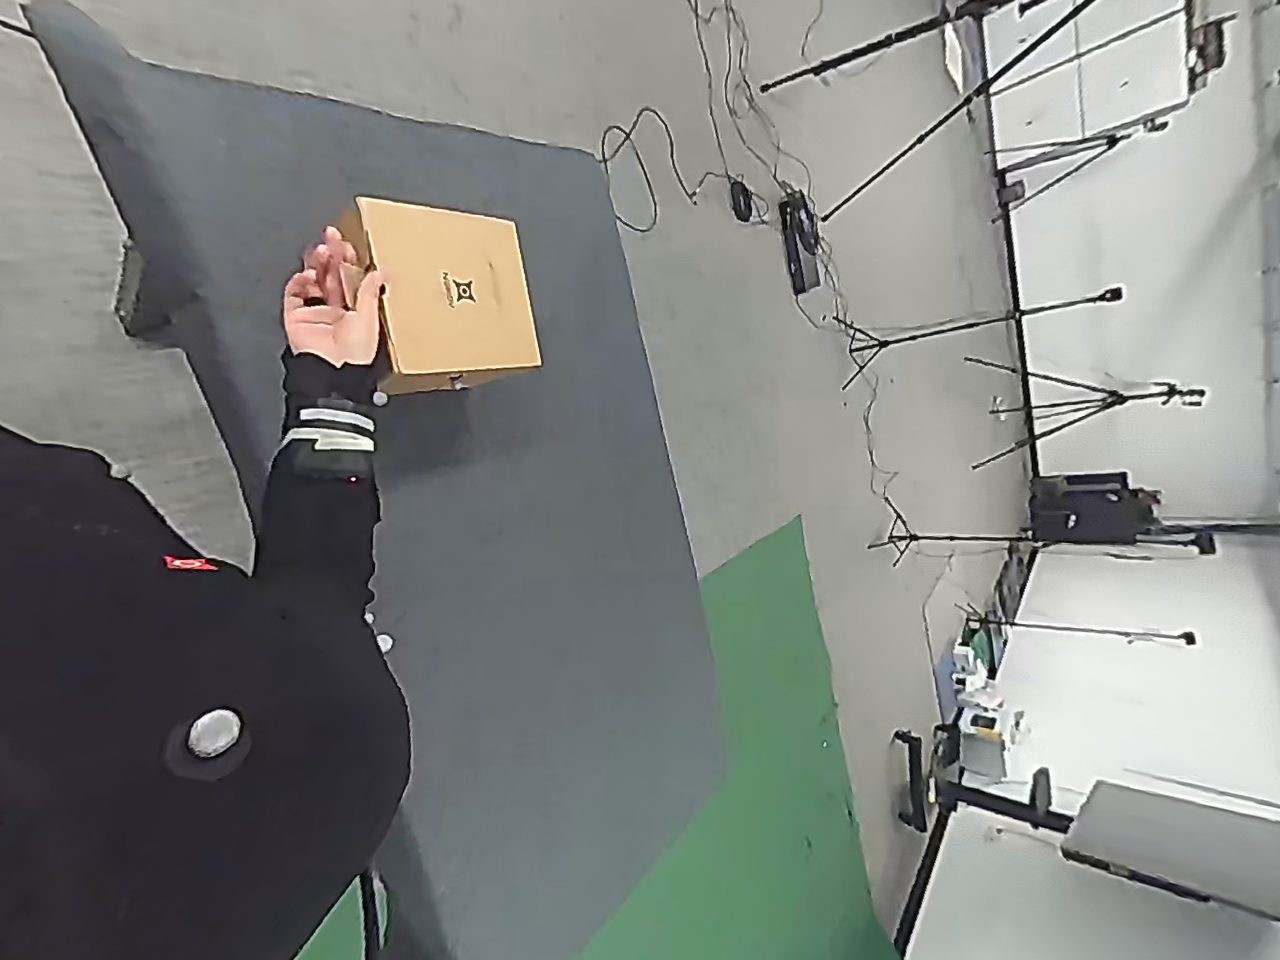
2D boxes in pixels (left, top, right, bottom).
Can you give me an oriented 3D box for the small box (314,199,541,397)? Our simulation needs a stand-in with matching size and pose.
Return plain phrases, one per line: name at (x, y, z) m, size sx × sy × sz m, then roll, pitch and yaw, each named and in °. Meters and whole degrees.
small box at (-0.244, -0.192, 0.615) m, size 0.179 × 0.176 × 0.168 m, roll -19°, pitch 103°, yaw -47°
